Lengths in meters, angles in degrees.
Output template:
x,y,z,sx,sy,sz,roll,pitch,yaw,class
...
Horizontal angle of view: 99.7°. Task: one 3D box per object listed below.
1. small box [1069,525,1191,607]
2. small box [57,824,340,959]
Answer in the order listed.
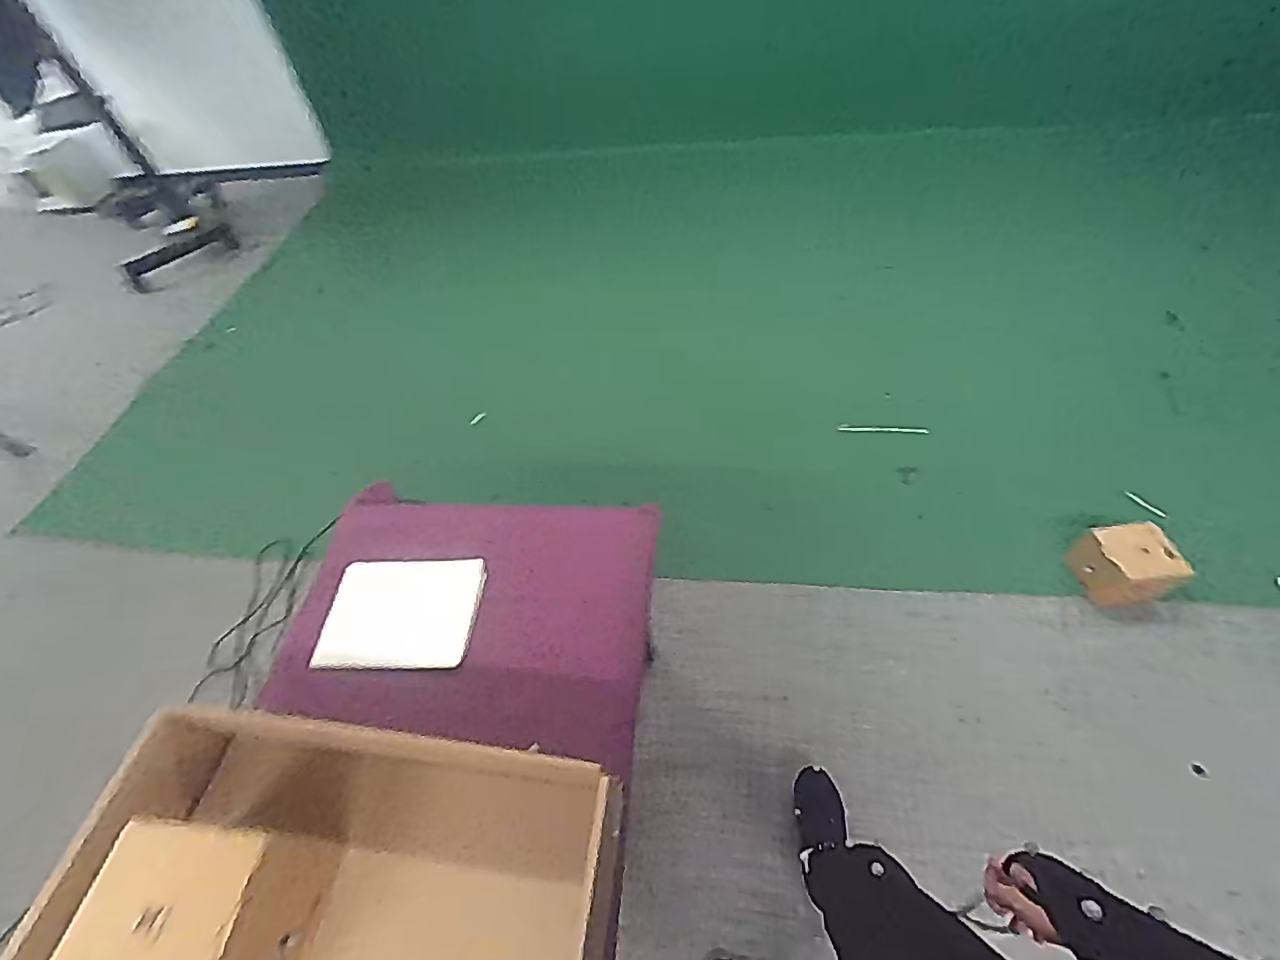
x,y,z,sx,sy,sz,roll,pitch,yaw,class
1.376,0.249,1.542,0.179,0.176,0.168,-8,52,2,small box
-0.491,0.507,0.615,0.179,0.176,0.168,2,52,6,small box
